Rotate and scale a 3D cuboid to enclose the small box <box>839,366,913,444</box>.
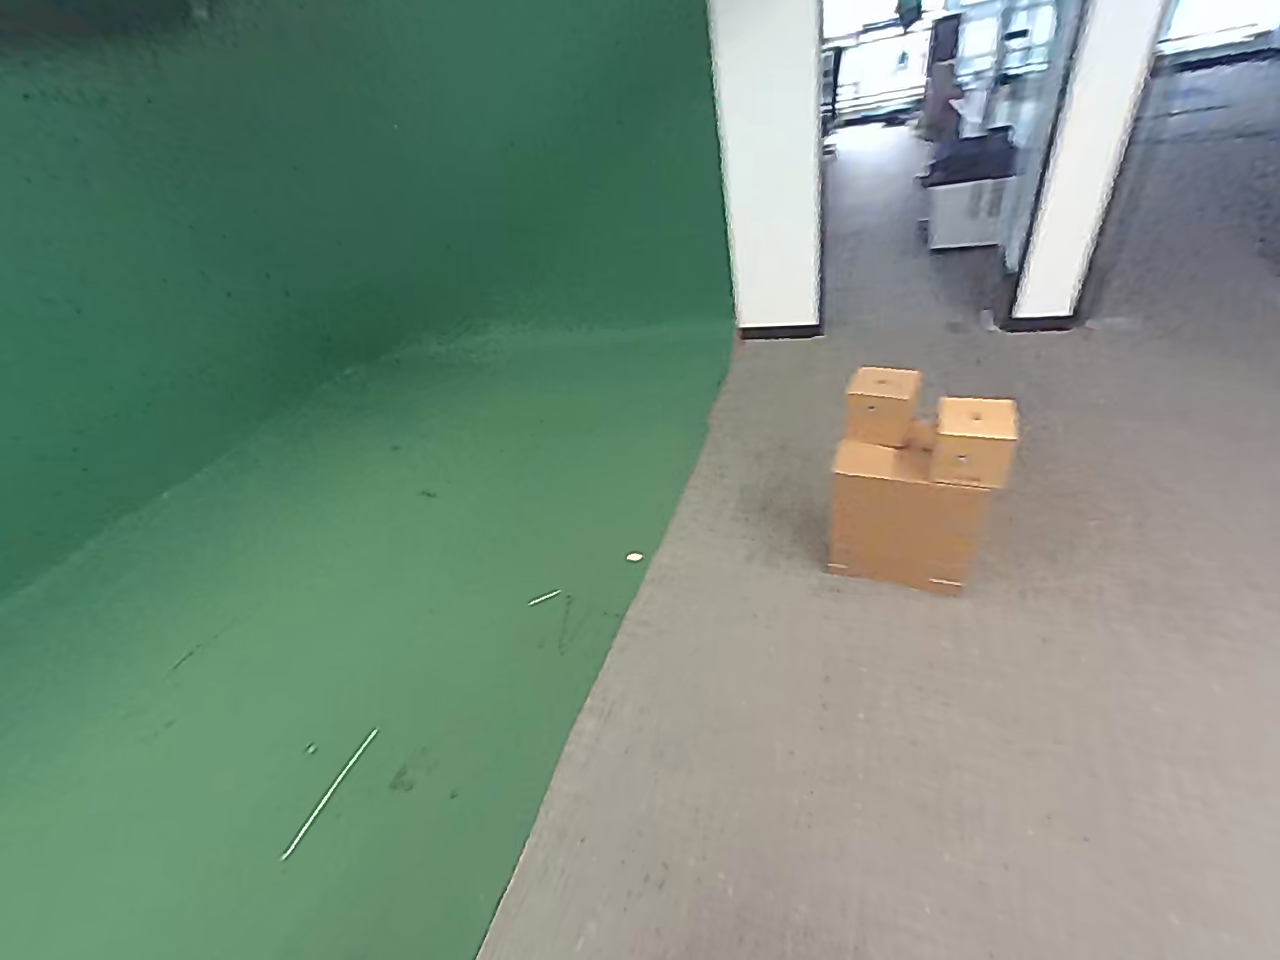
[{"bbox_3d":[0.714,-0.228,1.645,0.179,0.176,0.168,13,45,29],"label":"small box"}]

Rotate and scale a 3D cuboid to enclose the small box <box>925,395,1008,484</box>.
[{"bbox_3d":[0.868,-0.109,1.448,0.168,0.176,0.179,7,43,24],"label":"small box"}]
